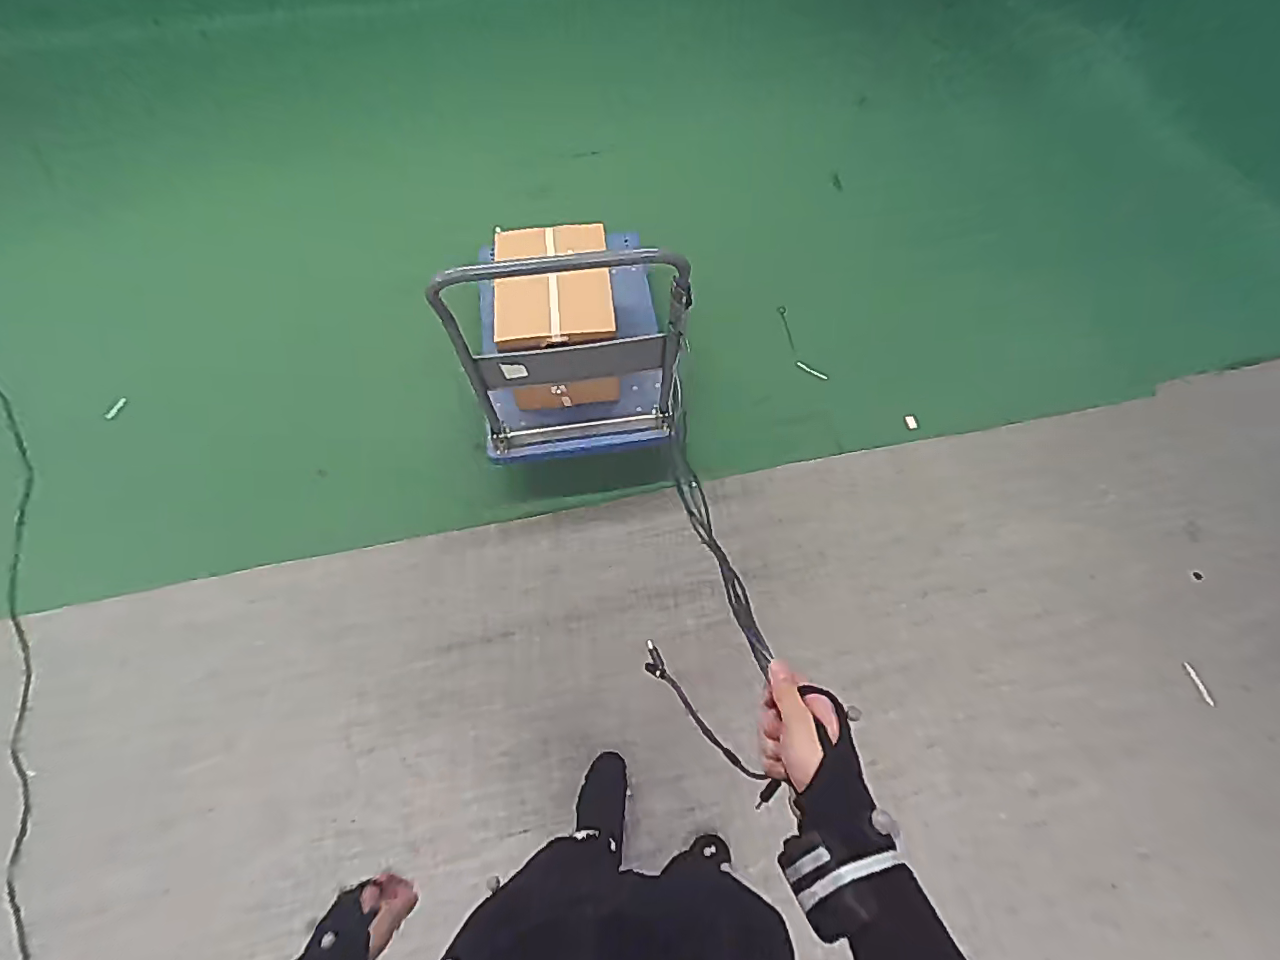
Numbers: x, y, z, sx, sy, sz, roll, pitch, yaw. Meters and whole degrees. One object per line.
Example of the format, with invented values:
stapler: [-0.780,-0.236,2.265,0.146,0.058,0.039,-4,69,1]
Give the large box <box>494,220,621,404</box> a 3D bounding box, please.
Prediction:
large box: [-0.233,-0.482,1.579,0.320,0.320,0.408,-5,64,-3]
